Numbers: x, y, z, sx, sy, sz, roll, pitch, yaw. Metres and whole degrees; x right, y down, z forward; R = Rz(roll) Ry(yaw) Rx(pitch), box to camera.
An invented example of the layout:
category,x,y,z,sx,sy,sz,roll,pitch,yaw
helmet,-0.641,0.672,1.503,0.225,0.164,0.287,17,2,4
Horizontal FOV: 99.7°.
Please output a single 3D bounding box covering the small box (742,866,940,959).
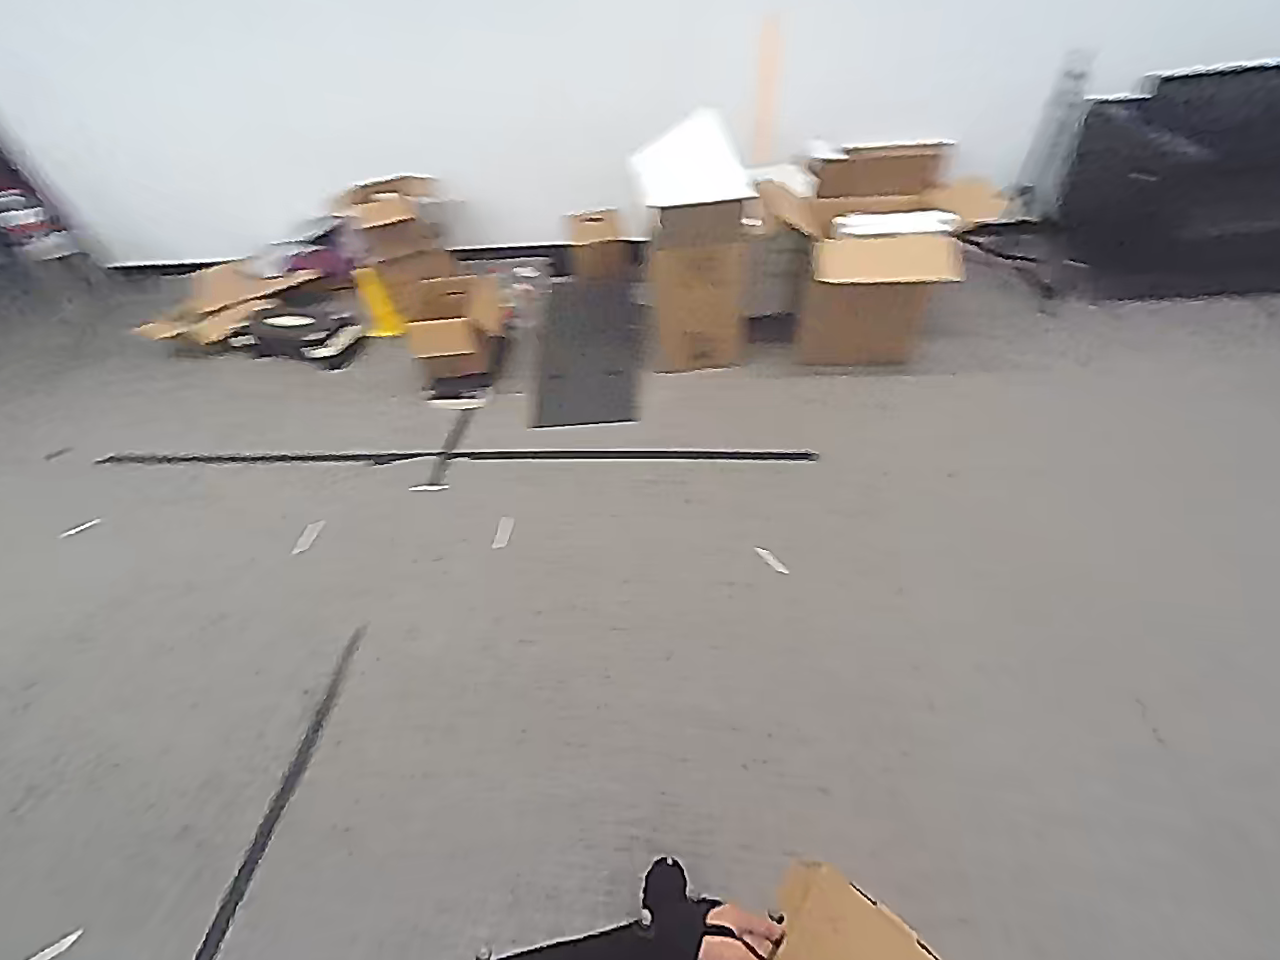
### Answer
category,x,y,z,sx,sy,sz,roll,pitch,yaw
small box,0.207,0.549,0.572,0.168,0.176,0.179,32,62,22
